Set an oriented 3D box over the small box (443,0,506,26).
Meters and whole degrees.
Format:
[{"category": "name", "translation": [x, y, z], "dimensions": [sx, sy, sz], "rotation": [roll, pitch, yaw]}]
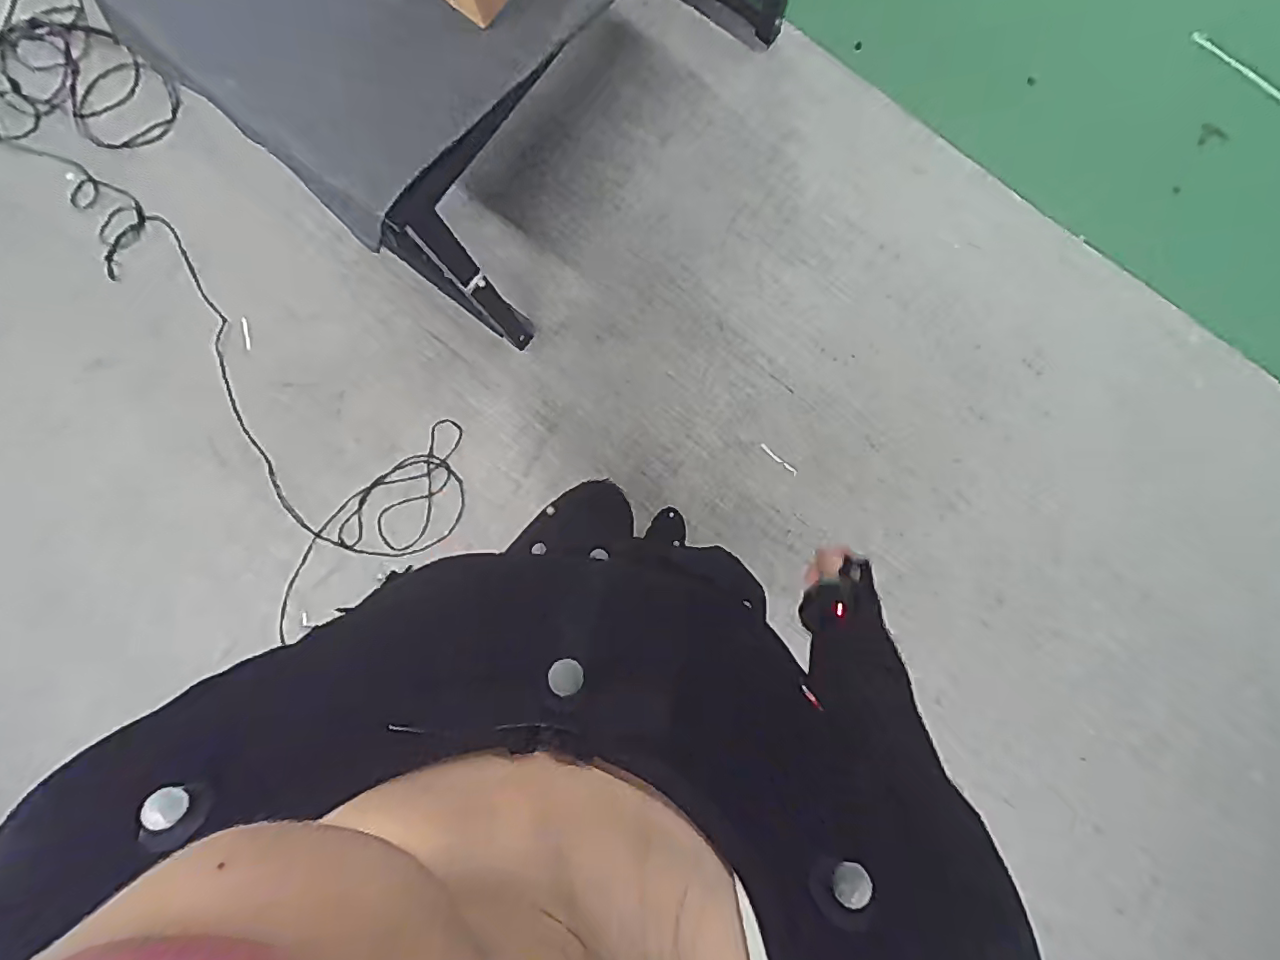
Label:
[{"category": "small box", "translation": [-0.241, -0.781, 0.719], "dimensions": [0.168, 0.176, 0.179], "rotation": [40, 90, 4]}]
